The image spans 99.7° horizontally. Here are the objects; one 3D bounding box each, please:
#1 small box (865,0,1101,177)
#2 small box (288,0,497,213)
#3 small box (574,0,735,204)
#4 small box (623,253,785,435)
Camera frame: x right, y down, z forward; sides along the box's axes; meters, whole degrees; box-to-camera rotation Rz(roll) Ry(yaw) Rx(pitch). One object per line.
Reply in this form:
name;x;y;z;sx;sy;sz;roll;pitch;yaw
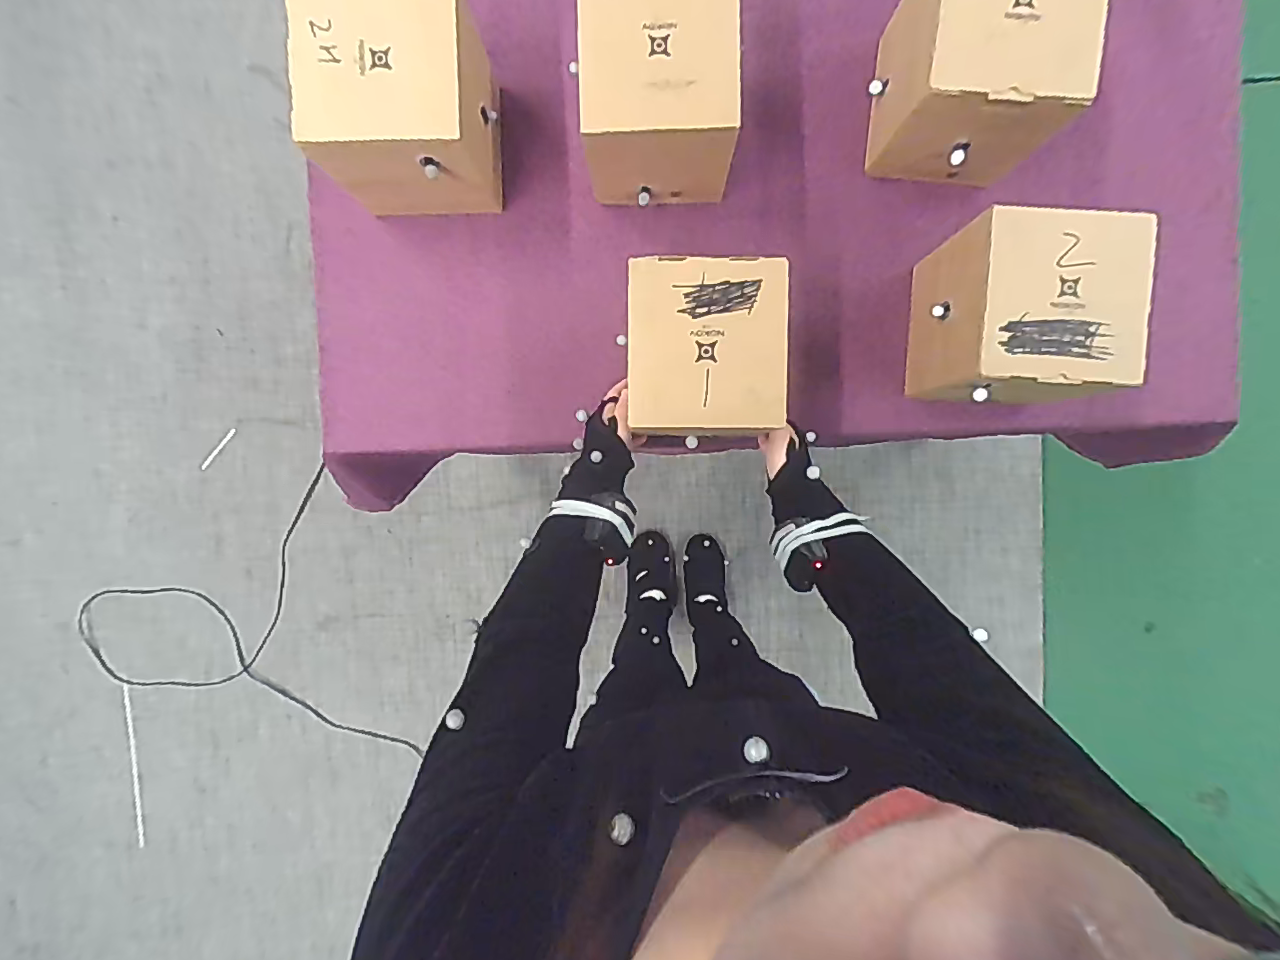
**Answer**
small box;0.372;-0.473;0.613;0.168;0.176;0.179;5;93;1
small box;-0.271;-0.432;0.632;0.179;0.176;0.168;-1;92;1
small box;0.016;-0.448;0.626;0.168;0.176;0.179;-1;93;2
small box;0.066;-0.146;0.633;0.168;0.176;0.179;0;92;2
